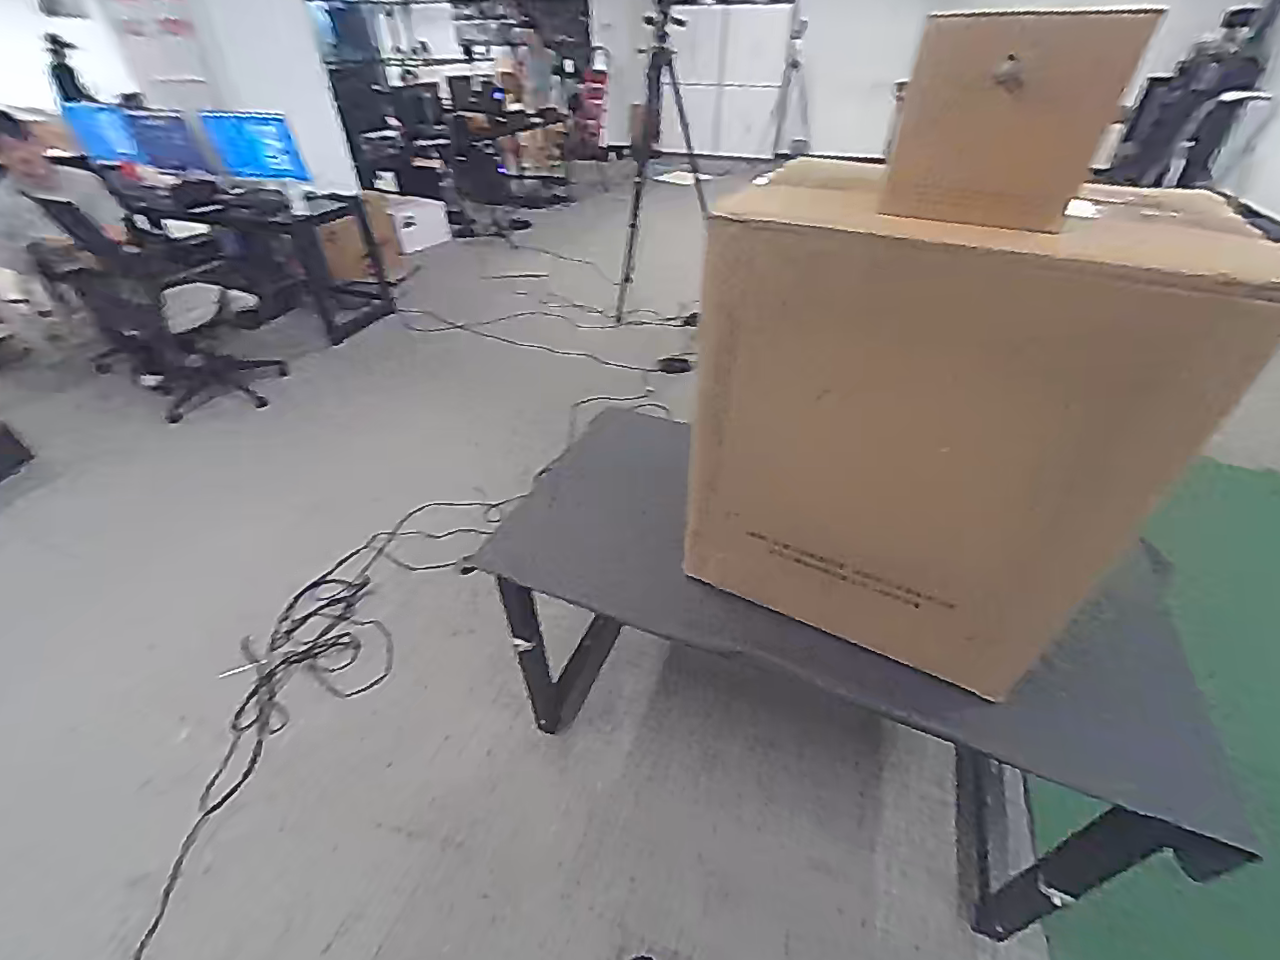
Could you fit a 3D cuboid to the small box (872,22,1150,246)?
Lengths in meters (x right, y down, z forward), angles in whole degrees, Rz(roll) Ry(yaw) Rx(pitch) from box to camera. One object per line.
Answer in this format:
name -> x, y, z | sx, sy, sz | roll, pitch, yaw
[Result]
small box -> 0.363, -0.355, 0.556 | 0.179, 0.176, 0.168 | 19, 45, 23
